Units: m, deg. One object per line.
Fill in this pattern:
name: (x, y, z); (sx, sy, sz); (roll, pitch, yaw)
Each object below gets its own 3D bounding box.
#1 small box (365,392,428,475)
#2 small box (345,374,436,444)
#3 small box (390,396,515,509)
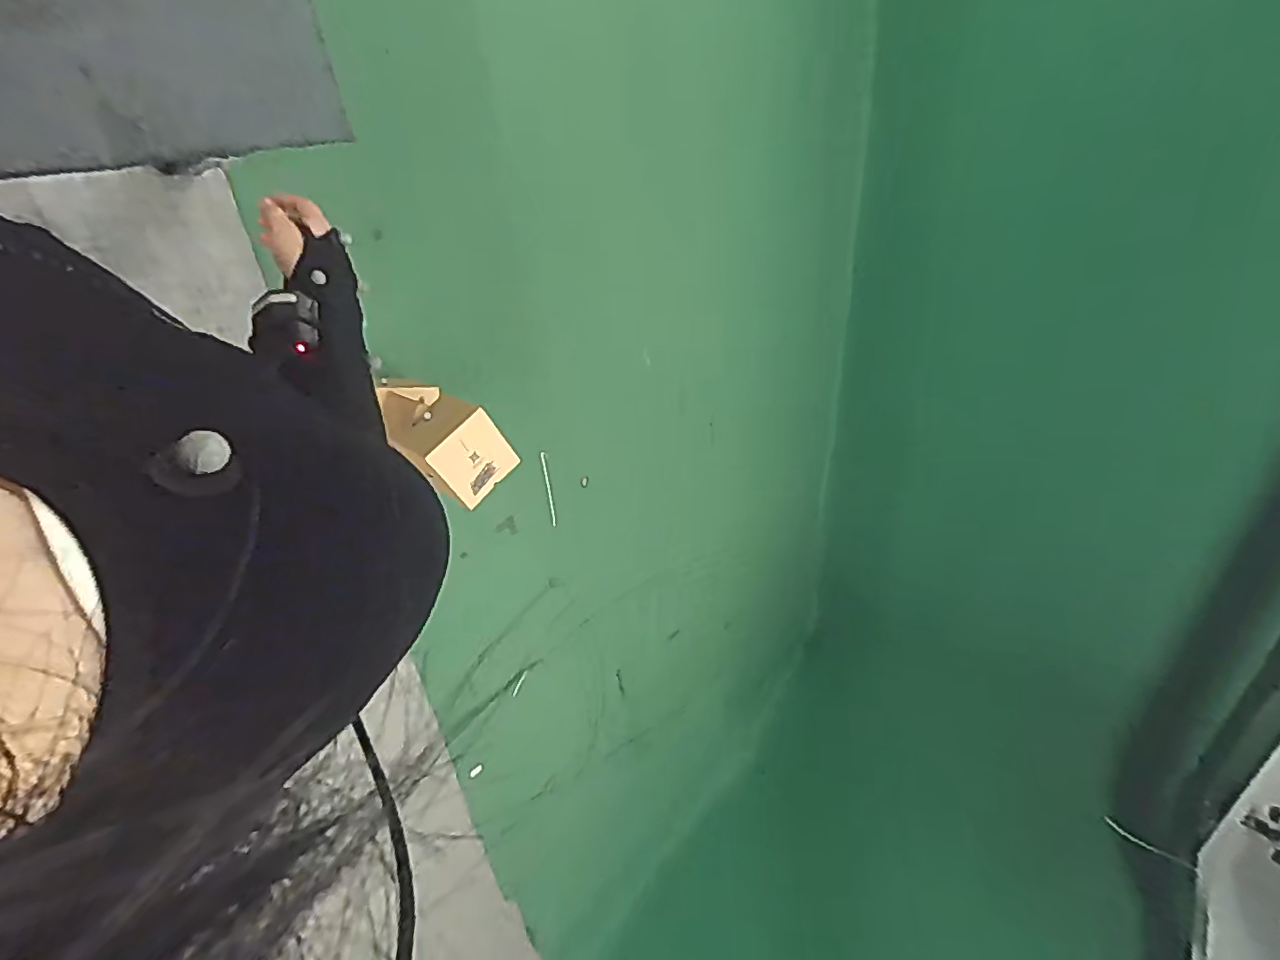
small box: (-0.547, -0.108, 1.340); (0.179, 0.176, 0.168); (20, 92, -52)
small box: (-0.664, -0.183, 1.429); (0.179, 0.176, 0.168); (-12, 115, -47)
small box: (-0.427, -0.069, 1.234); (0.168, 0.176, 0.179); (-49, 137, -22)
